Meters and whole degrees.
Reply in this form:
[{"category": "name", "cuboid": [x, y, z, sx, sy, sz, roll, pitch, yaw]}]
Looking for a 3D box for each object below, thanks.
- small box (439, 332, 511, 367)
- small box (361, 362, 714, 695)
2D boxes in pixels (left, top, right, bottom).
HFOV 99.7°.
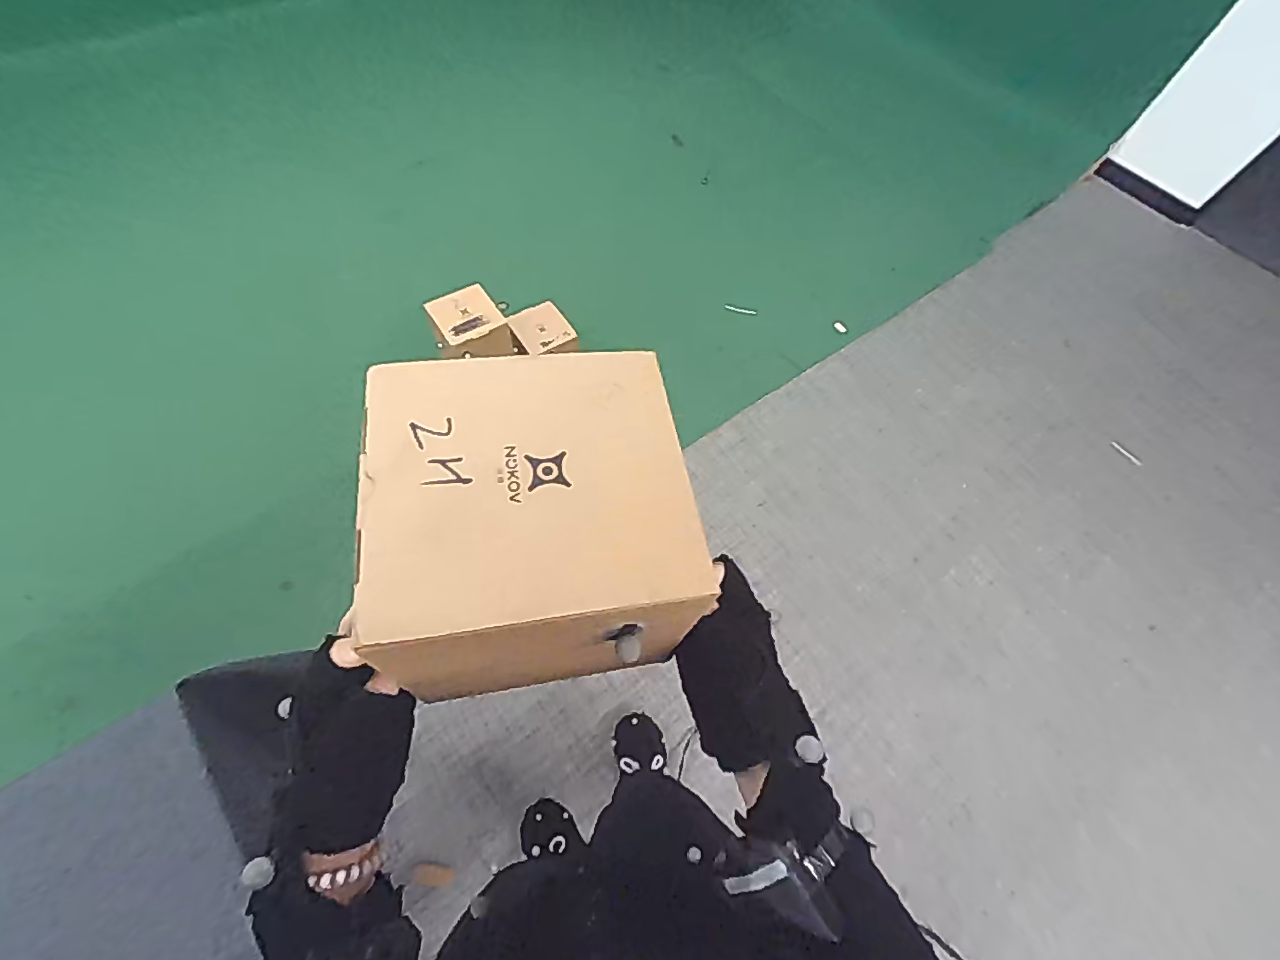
[{"category": "small box", "cuboid": [-0.493, -0.318, 1.678, 0.168, 0.176, 0.179, -28, 68, -18]}, {"category": "small box", "cuboid": [-0.069, 0.039, 0.371, 0.179, 0.176, 0.168, -5, 61, -12]}]
